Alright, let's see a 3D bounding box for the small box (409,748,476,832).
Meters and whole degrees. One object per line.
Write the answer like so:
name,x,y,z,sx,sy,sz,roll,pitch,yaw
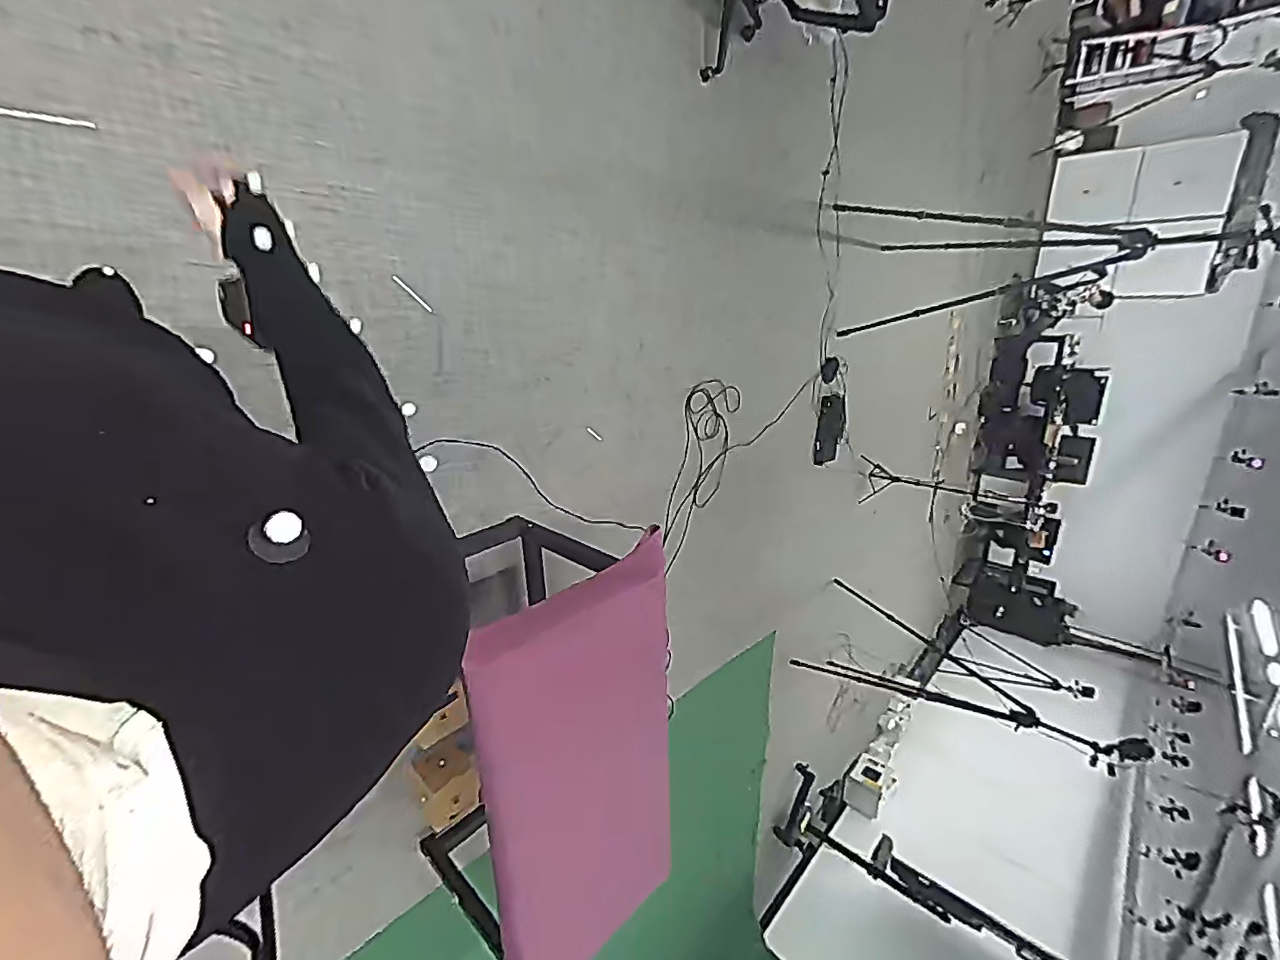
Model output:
small box,-0.709,1.098,1.936,0.168,0.176,0.179,-15,112,-44
